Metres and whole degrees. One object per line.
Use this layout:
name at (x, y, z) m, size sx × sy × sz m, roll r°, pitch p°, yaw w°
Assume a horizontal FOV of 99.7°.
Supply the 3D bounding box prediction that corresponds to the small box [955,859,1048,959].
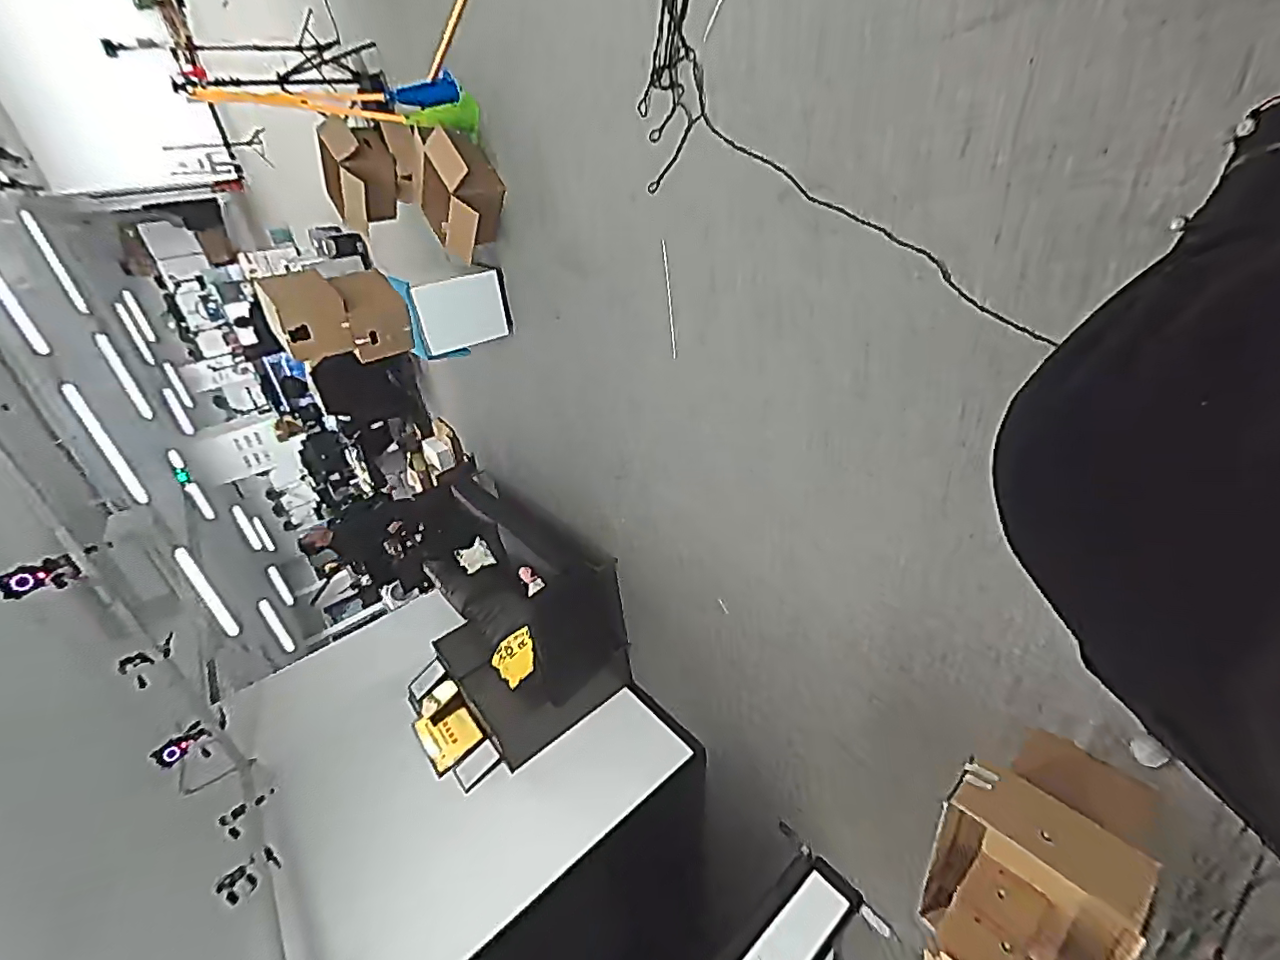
small box at (0.962, 1.179, 1.452) m, size 0.168 × 0.176 × 0.179 m, roll 22°, pitch 126°, yaw 49°

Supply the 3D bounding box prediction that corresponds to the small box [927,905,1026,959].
small box at (0.840, 1.232, 1.356) m, size 0.168 × 0.176 × 0.179 m, roll 19°, pitch 126°, yaw 49°
